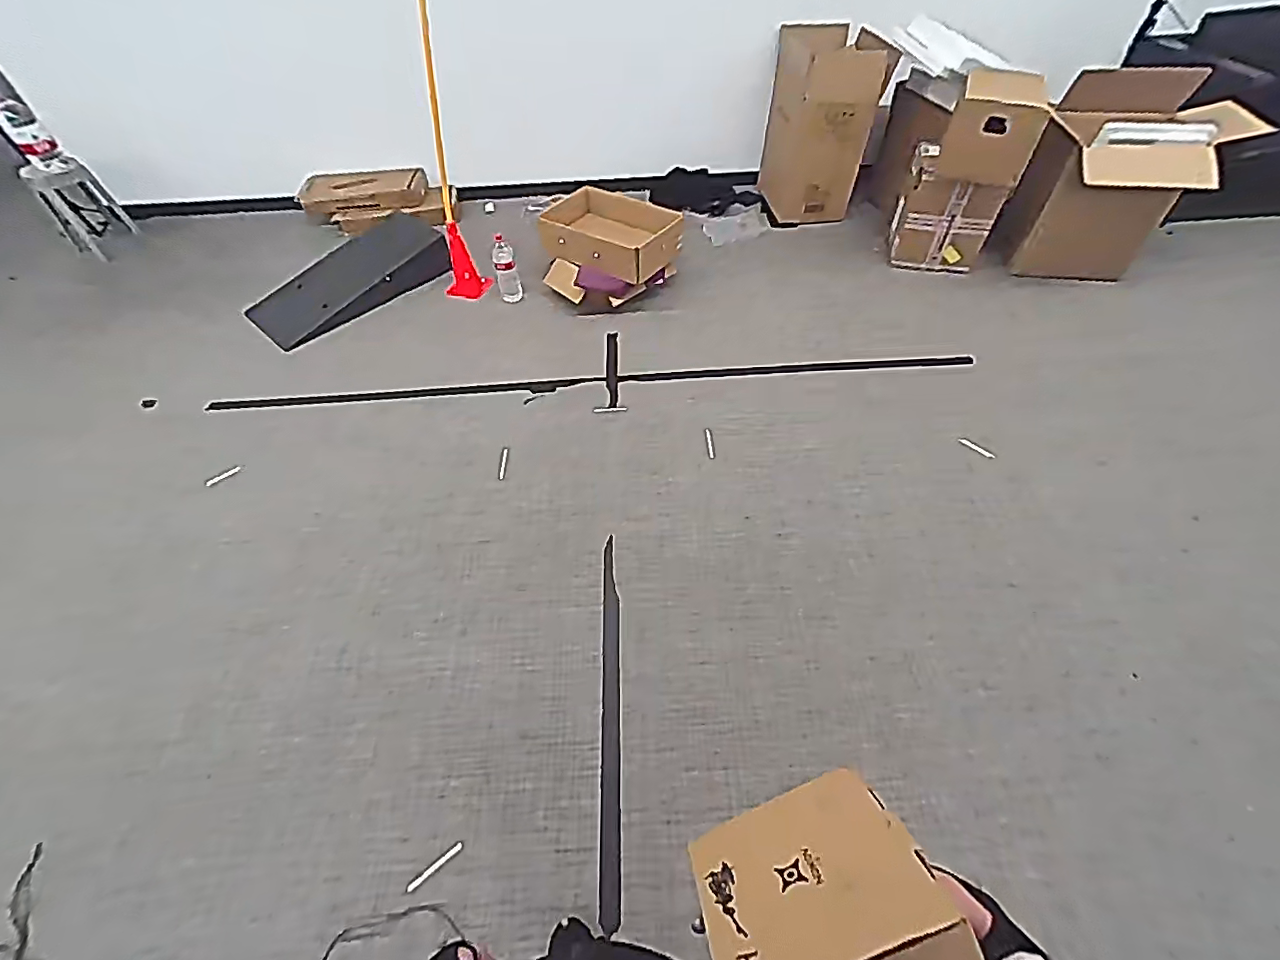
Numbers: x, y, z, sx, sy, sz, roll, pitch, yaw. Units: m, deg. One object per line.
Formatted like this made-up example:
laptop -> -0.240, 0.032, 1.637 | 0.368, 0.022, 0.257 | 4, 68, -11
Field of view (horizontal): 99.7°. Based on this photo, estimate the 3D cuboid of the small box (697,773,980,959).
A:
small box -> 0.168, 0.399, 0.454 | 0.179, 0.168, 0.176 | -23, 95, -2
